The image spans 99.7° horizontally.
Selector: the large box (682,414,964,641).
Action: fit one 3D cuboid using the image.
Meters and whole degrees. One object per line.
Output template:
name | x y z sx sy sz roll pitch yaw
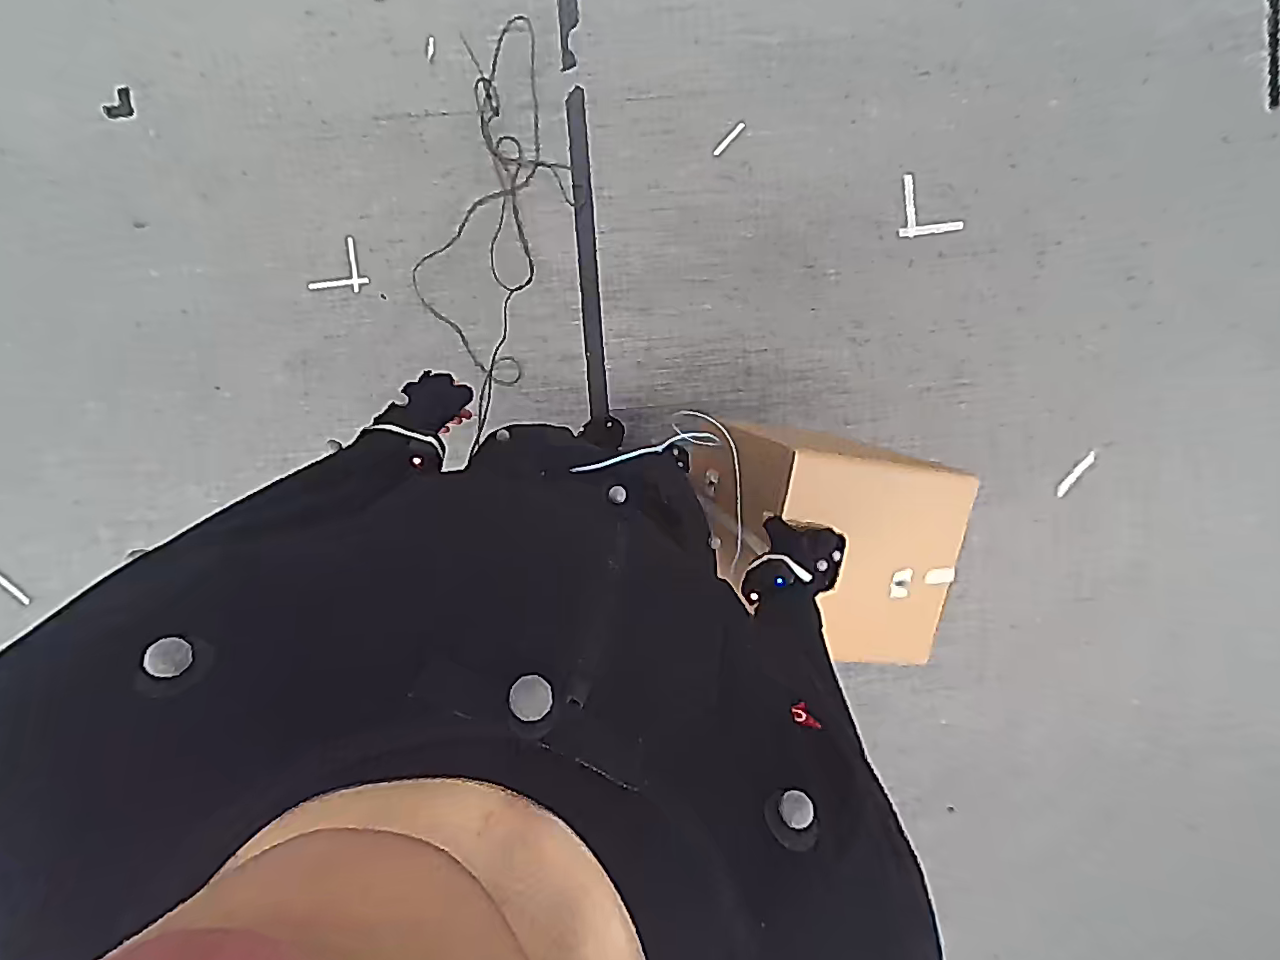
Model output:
large box | 0.296 0.065 1.000 0.320 0.408 0.320 6 102 -13
